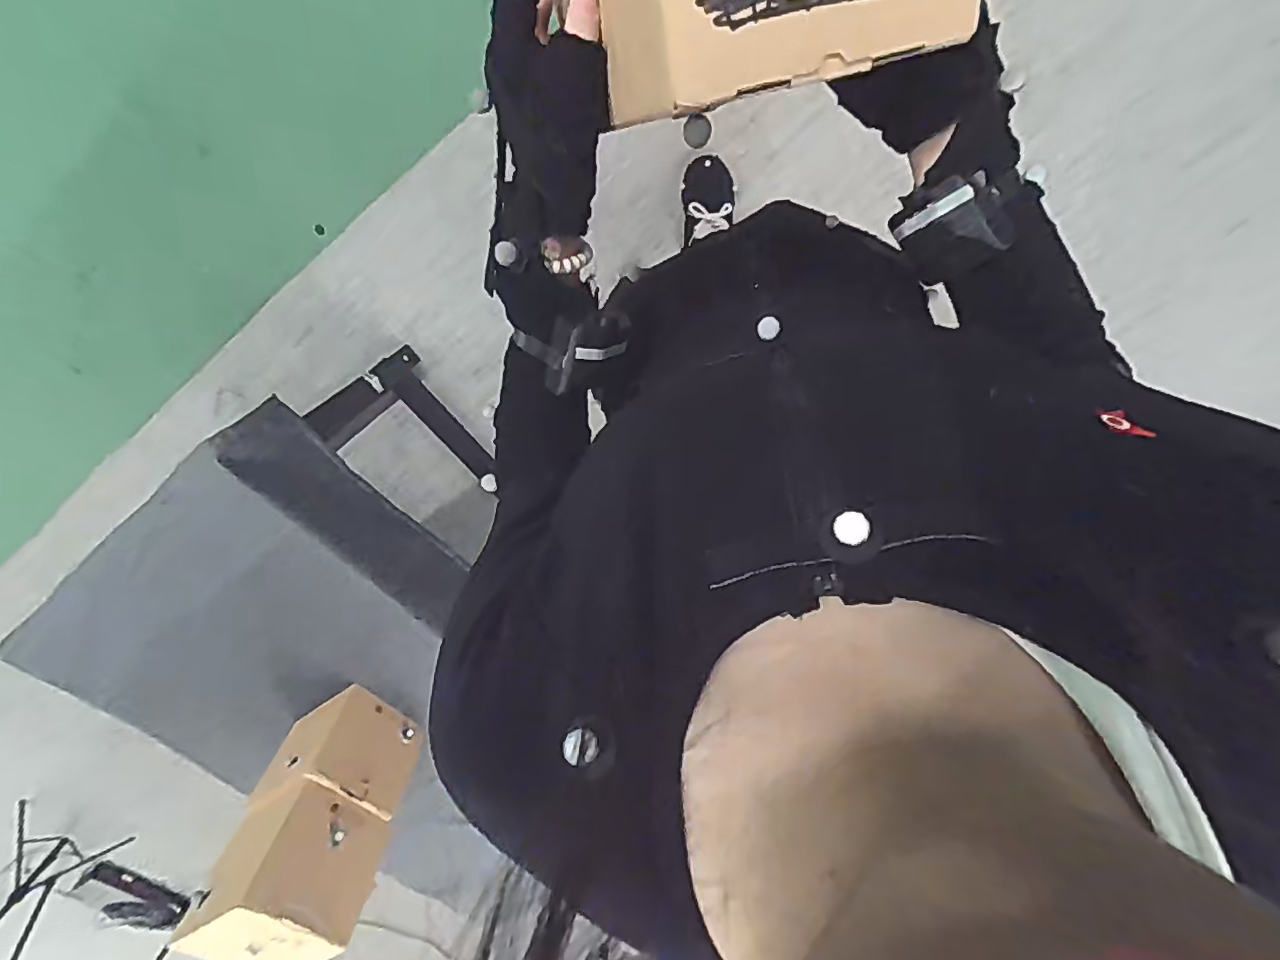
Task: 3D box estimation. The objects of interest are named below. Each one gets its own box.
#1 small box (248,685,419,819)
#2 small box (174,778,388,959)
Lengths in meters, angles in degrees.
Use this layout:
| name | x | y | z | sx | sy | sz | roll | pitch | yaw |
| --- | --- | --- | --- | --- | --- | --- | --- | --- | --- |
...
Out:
| name | x | y | z | sx | sy | sz | roll | pitch | yaw |
| --- | --- | --- | --- | --- | --- | --- | --- | --- | --- |
| small box | -0.514 | 0.493 | 0.942 | 0.179 | 0.176 | 0.168 | -33 | 114 | 17 |
| small box | -0.517 | 0.588 | 0.807 | 0.179 | 0.176 | 0.168 | -36 | 114 | 16 |
